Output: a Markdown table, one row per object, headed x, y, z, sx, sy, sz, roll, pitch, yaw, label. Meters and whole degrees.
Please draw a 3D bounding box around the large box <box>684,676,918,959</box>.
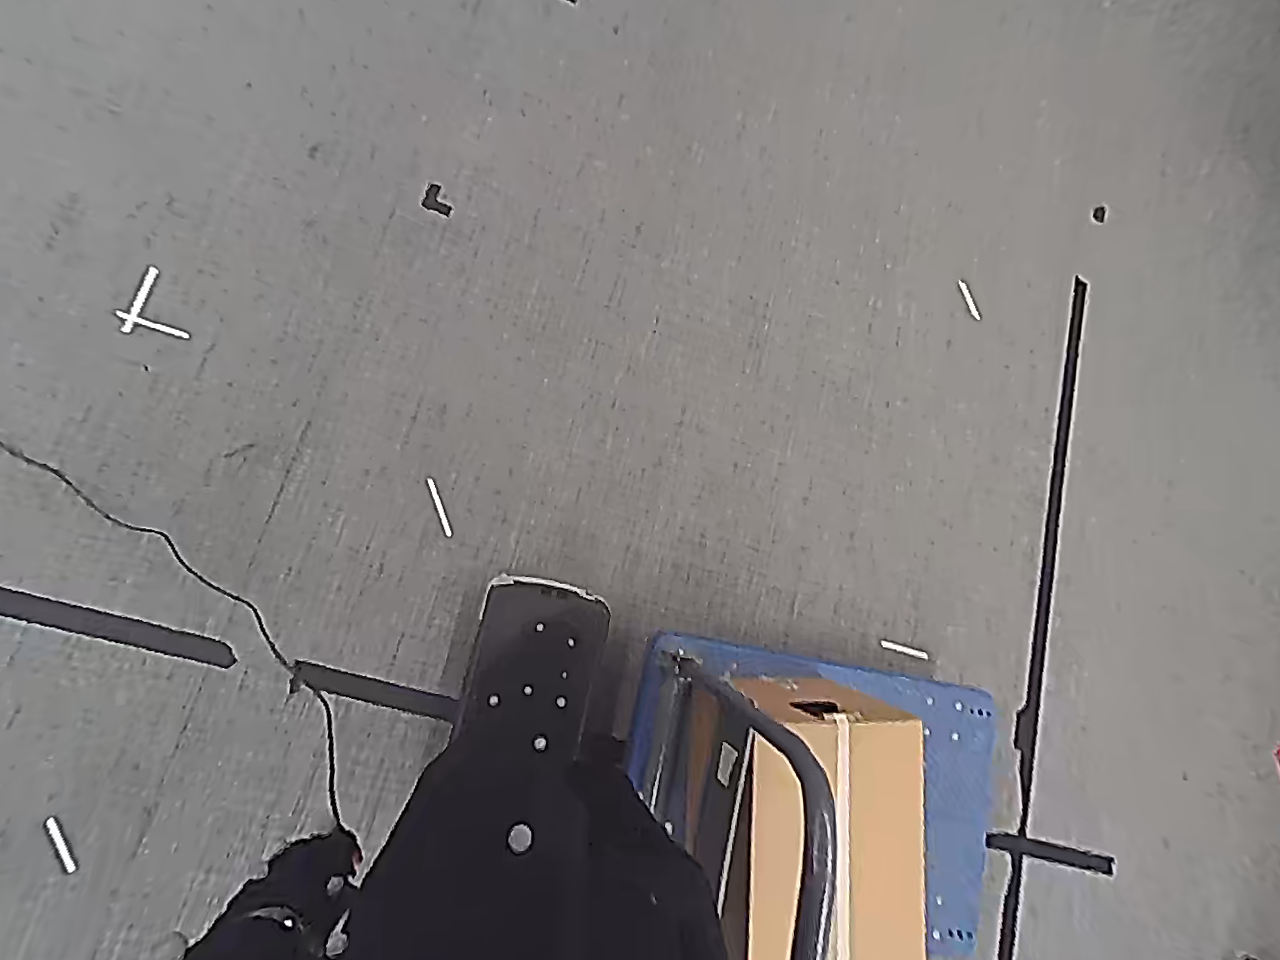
| x | y | z | sx | sy | sz | roll | pitch | yaw | label |
| --- | --- | --- | --- | --- | --- | --- | --- | --- | --- |
| 0.277 | 0.609 | 1.008 | 0.320 | 0.320 | 0.408 | 5 | 83 | -13 | large box |
